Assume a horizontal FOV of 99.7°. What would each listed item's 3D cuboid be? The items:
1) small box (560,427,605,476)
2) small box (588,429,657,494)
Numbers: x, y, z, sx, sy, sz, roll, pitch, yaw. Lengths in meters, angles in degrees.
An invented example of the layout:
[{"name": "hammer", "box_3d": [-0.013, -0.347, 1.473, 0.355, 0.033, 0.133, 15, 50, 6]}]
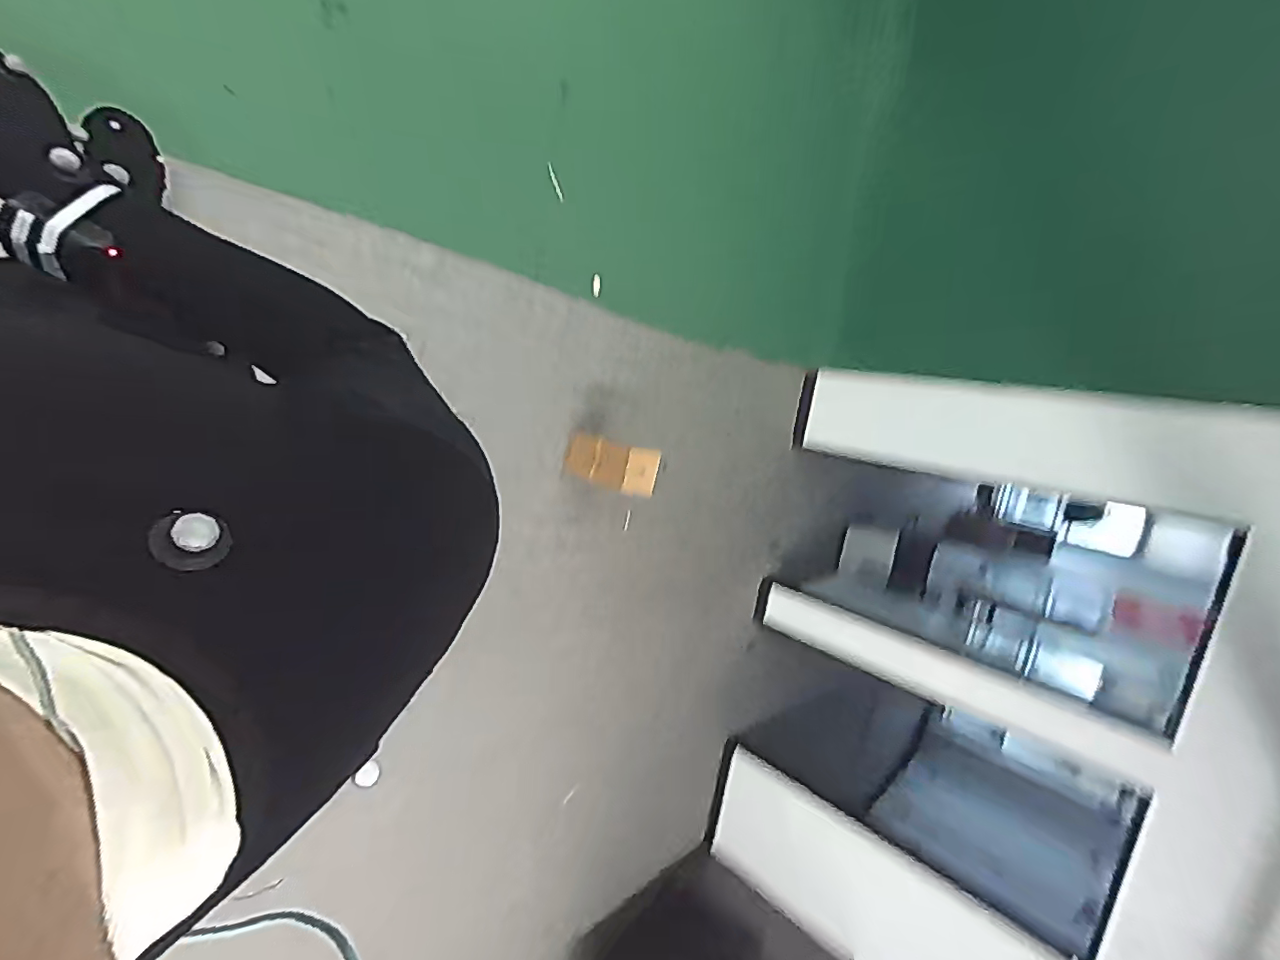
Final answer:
[{"name": "small box", "box_3d": [-0.194, -0.111, 2.159, 0.179, 0.176, 0.168, 8, 98, -50]}, {"name": "small box", "box_3d": [-0.070, -0.075, 2.073, 0.179, 0.176, 0.168, -56, 135, -19]}]
